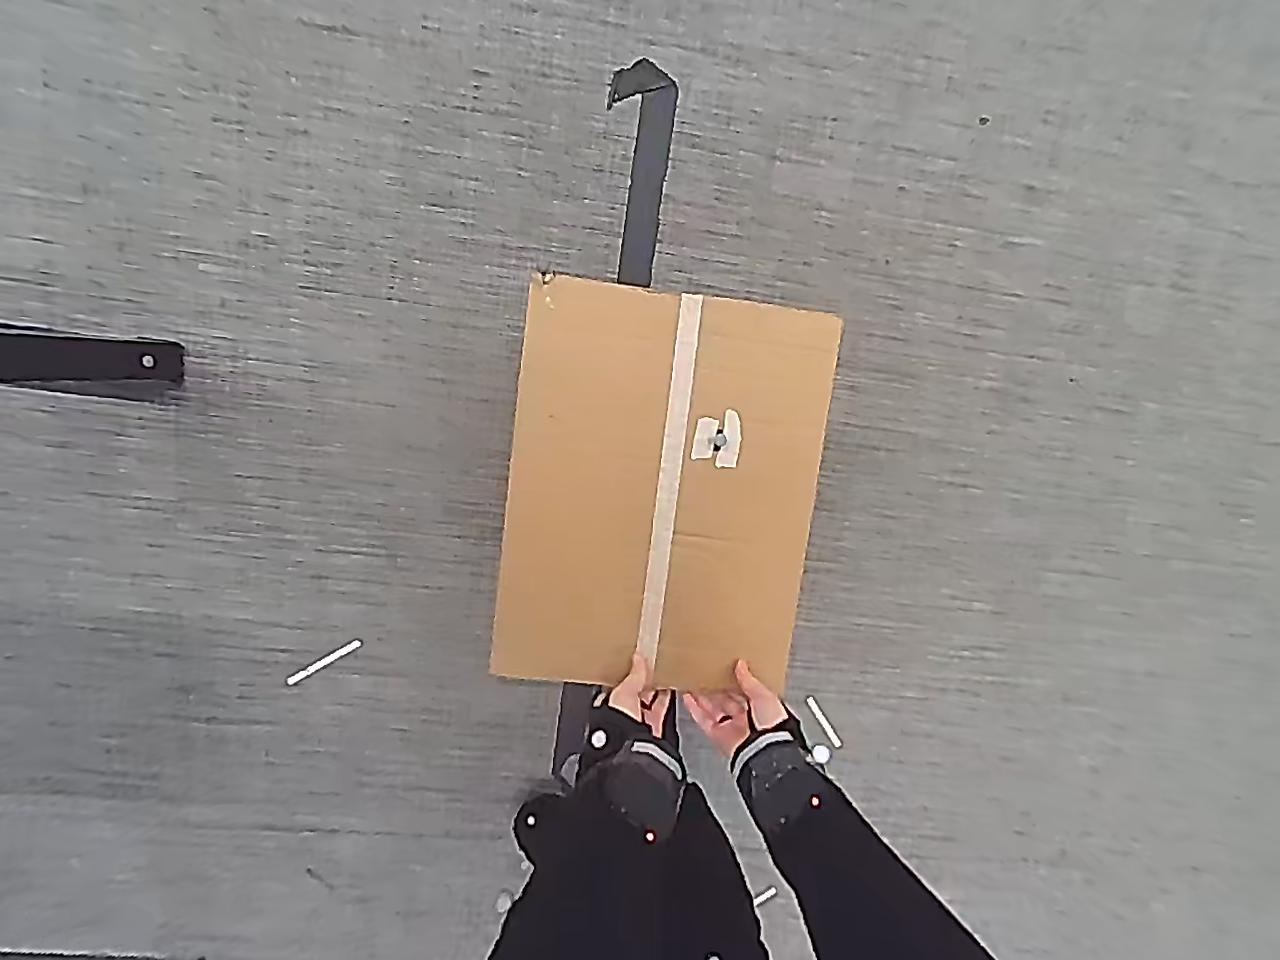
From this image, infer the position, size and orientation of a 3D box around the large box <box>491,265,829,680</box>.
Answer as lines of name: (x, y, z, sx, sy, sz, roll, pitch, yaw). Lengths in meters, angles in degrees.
large box: (0.008, -0.009, 0.695, 0.320, 0.320, 0.408, 7, 95, -6)
